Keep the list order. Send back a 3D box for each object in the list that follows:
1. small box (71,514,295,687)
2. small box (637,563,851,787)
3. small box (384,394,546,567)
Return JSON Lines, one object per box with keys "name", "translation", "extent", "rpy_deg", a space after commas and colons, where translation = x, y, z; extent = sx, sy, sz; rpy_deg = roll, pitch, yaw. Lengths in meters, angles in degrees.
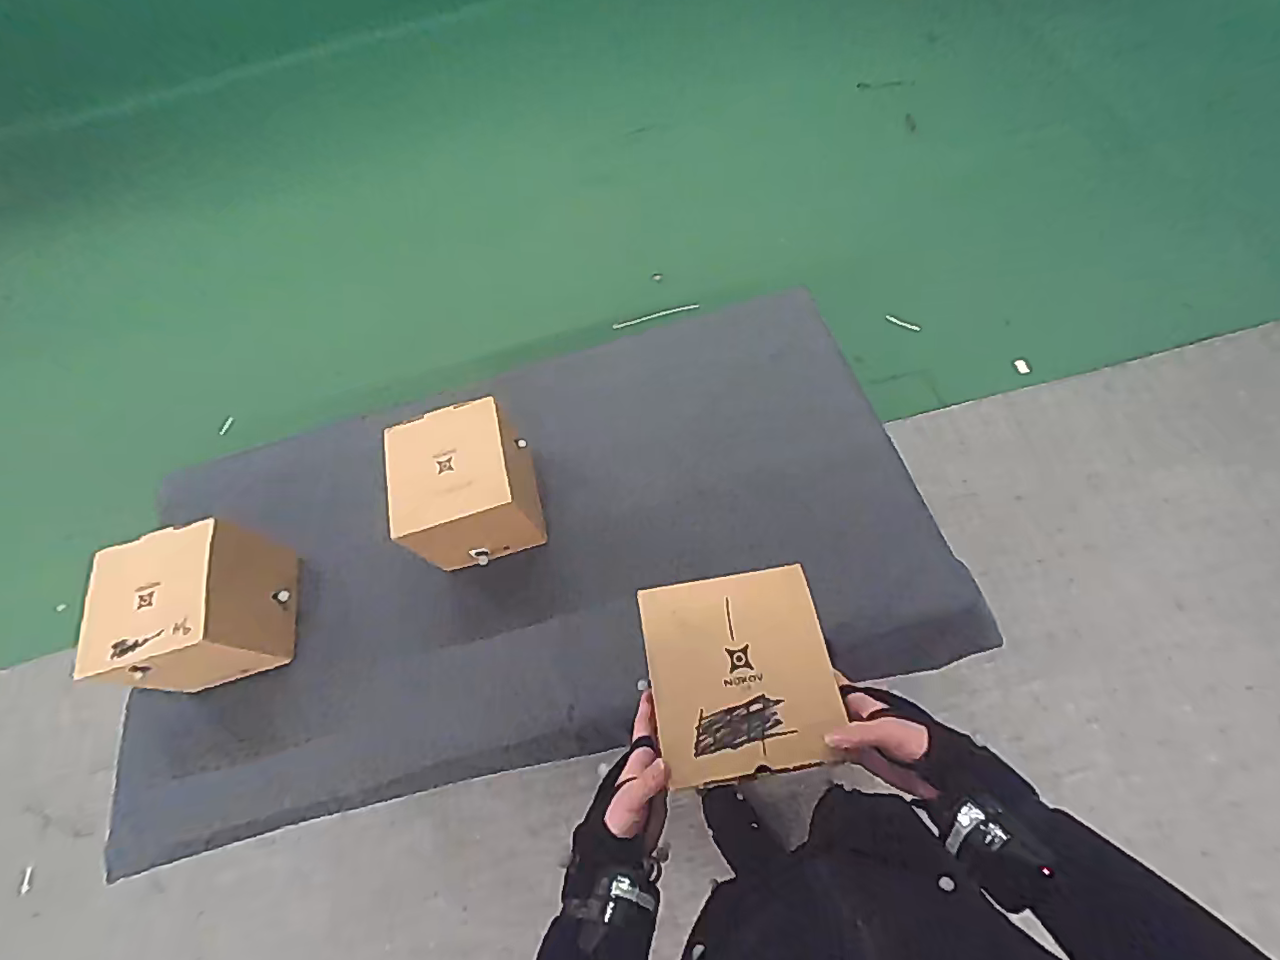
{"name": "small box", "translation": [-0.621, 0.176, 0.764], "extent": [0.168, 0.176, 0.179], "rpy_deg": [-17, 63, 0]}
{"name": "small box", "translation": [0.092, 0.204, 0.562], "extent": [0.168, 0.176, 0.179], "rpy_deg": [-8, 63, -2]}
{"name": "small box", "translation": [-0.251, 0.007, 0.797], "extent": [0.168, 0.176, 0.179], "rpy_deg": [-18, 66, 0]}
